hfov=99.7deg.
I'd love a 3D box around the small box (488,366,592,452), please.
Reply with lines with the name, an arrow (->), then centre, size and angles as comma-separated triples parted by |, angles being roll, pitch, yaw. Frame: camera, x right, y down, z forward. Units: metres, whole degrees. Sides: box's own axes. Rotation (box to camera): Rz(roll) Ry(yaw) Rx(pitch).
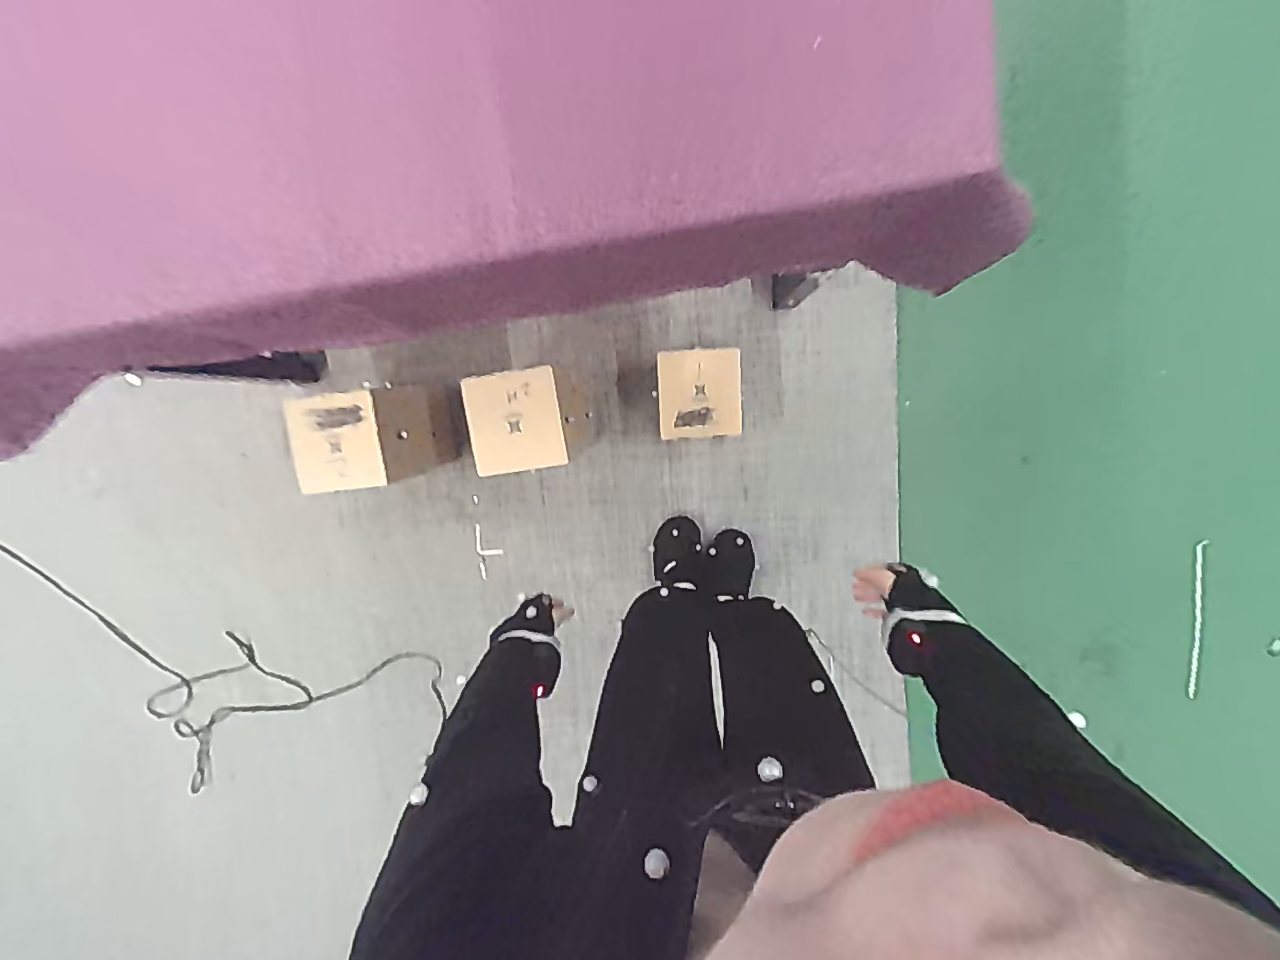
small box -> -0.213, -0.155, 1.191 | 0.179, 0.176, 0.168 | -6, 98, 4
